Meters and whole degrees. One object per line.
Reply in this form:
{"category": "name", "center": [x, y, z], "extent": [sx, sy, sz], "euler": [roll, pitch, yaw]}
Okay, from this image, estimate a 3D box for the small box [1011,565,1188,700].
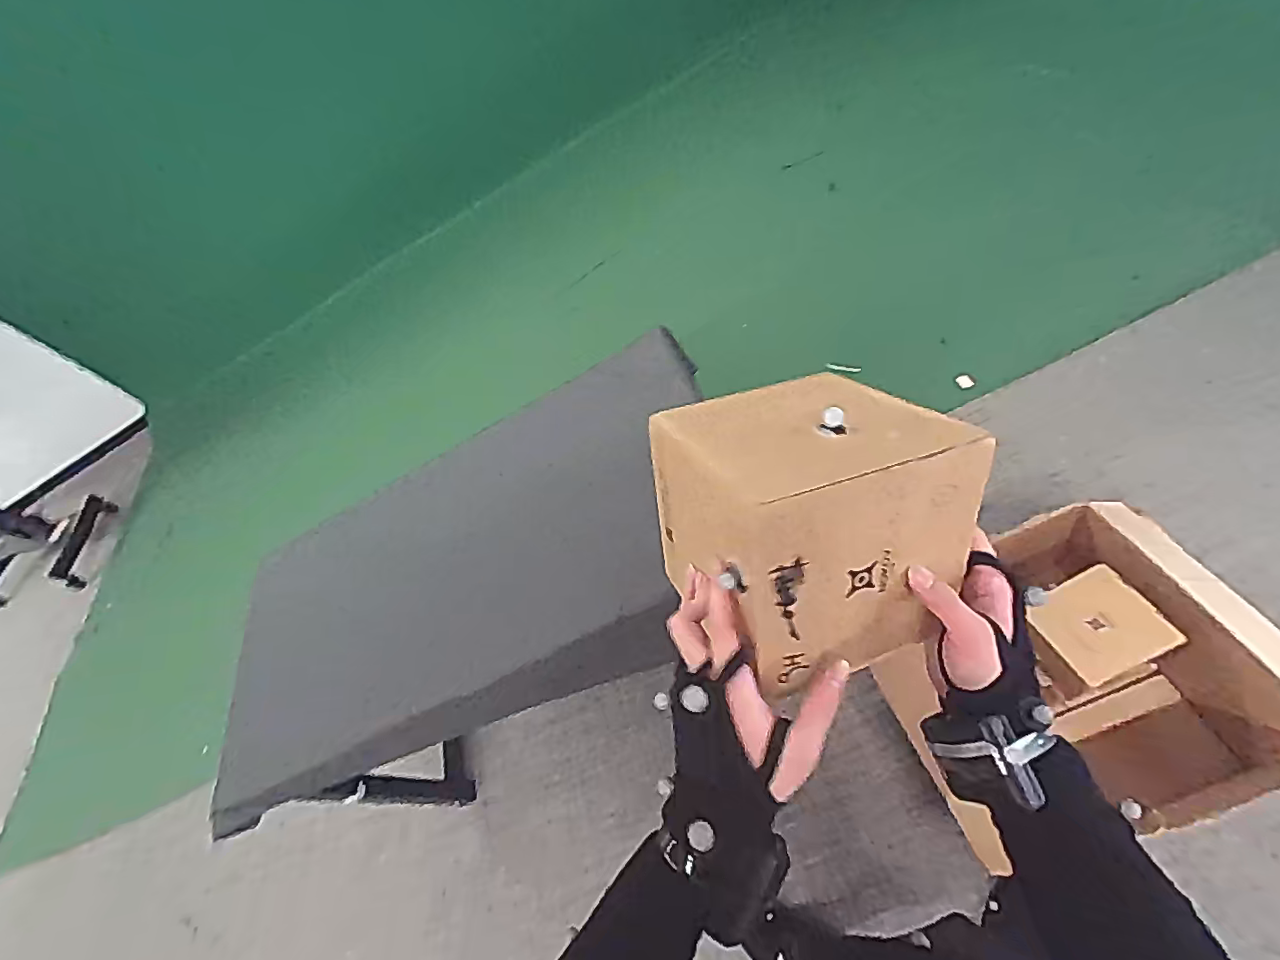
{"category": "small box", "center": [0.842, 0.291, 1.017], "extent": [0.179, 0.176, 0.168], "euler": [-33, 53, 7]}
